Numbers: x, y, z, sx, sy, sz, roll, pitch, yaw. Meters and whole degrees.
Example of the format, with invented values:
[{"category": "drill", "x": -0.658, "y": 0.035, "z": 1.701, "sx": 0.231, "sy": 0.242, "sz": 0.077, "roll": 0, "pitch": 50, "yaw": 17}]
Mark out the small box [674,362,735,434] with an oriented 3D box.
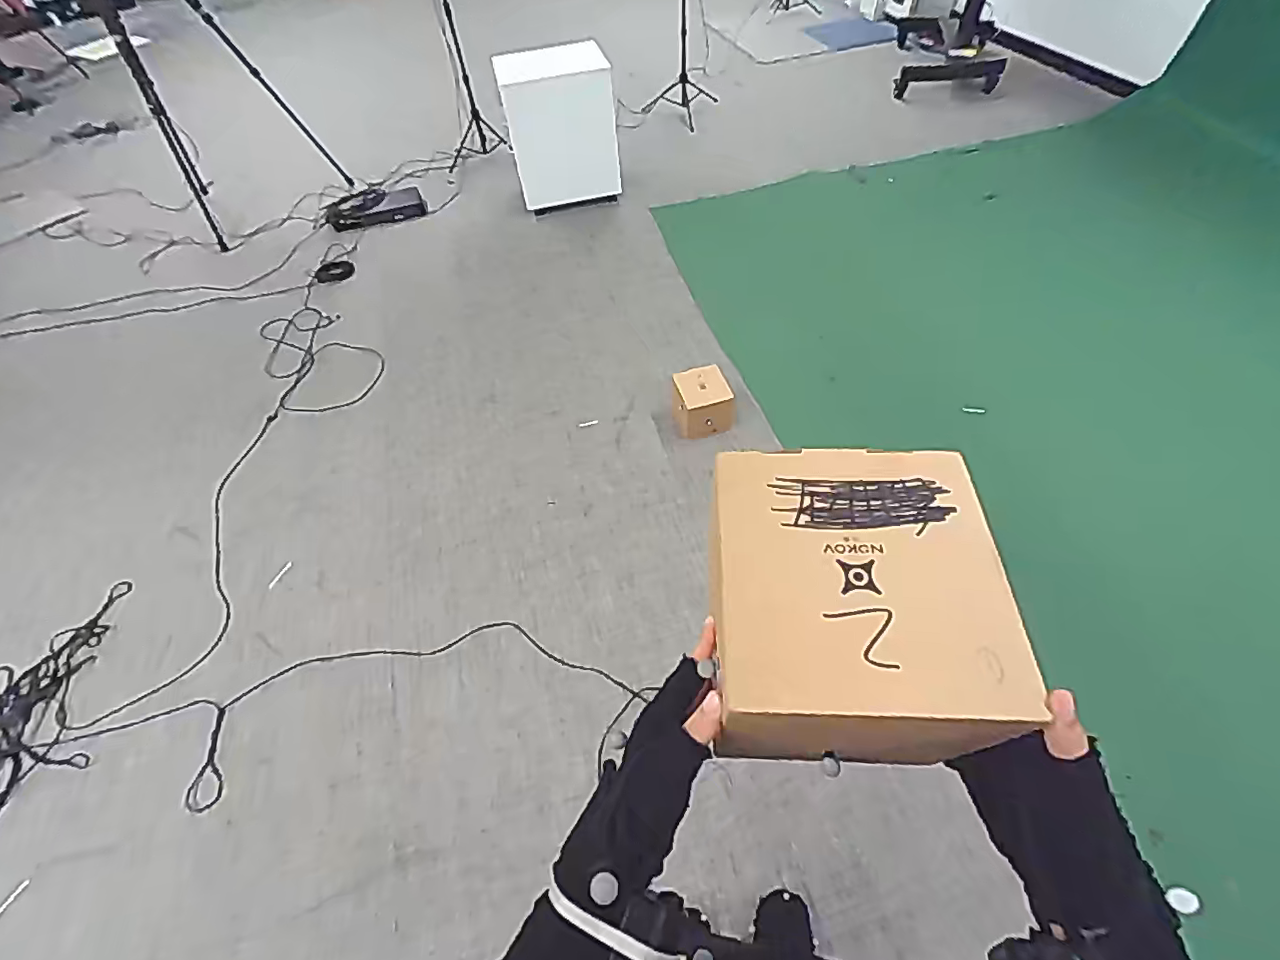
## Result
[{"category": "small box", "x": 0.222, "y": -0.278, "z": 1.885, "sx": 0.168, "sy": 0.176, "sz": 0.179, "roll": -14, "pitch": 55, "yaw": -7}]
